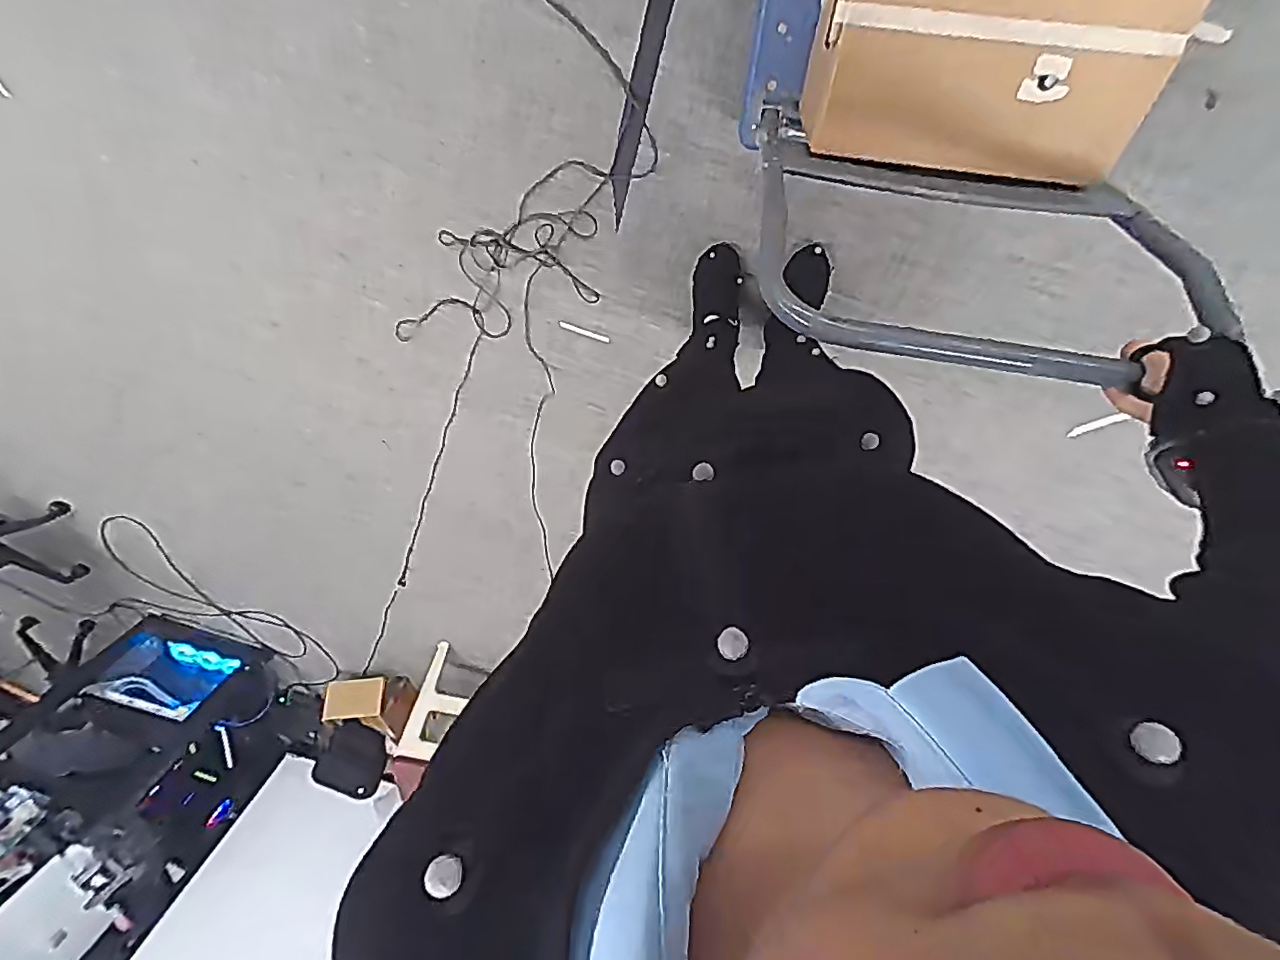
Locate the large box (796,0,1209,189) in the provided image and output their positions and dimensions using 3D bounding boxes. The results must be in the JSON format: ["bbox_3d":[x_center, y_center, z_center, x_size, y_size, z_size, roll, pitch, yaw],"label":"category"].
[{"bbox_3d":[0.467,-0.641,0.769,0.408,0.320,0.320,9,134,3],"label":"large box"}]
